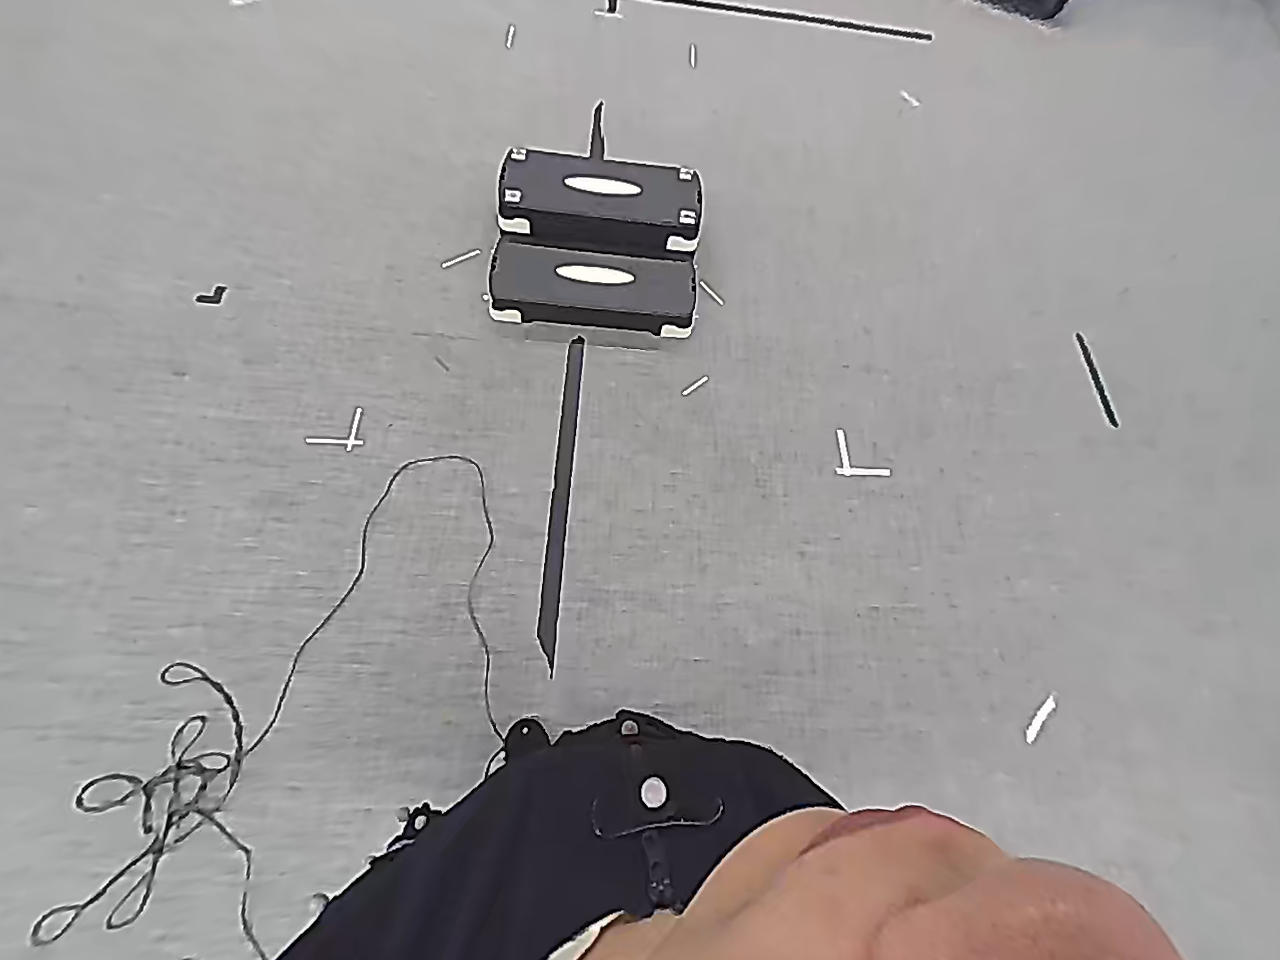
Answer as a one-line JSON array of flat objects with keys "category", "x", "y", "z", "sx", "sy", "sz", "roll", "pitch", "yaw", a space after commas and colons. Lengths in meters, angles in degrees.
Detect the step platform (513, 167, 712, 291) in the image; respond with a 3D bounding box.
[{"category": "step platform", "x": -0.092, "y": -0.874, "z": 1.885, "sx": 0.684, "sy": 0.204, "sz": 0.286, "roll": 8, "pitch": 65, "yaw": -3}]
